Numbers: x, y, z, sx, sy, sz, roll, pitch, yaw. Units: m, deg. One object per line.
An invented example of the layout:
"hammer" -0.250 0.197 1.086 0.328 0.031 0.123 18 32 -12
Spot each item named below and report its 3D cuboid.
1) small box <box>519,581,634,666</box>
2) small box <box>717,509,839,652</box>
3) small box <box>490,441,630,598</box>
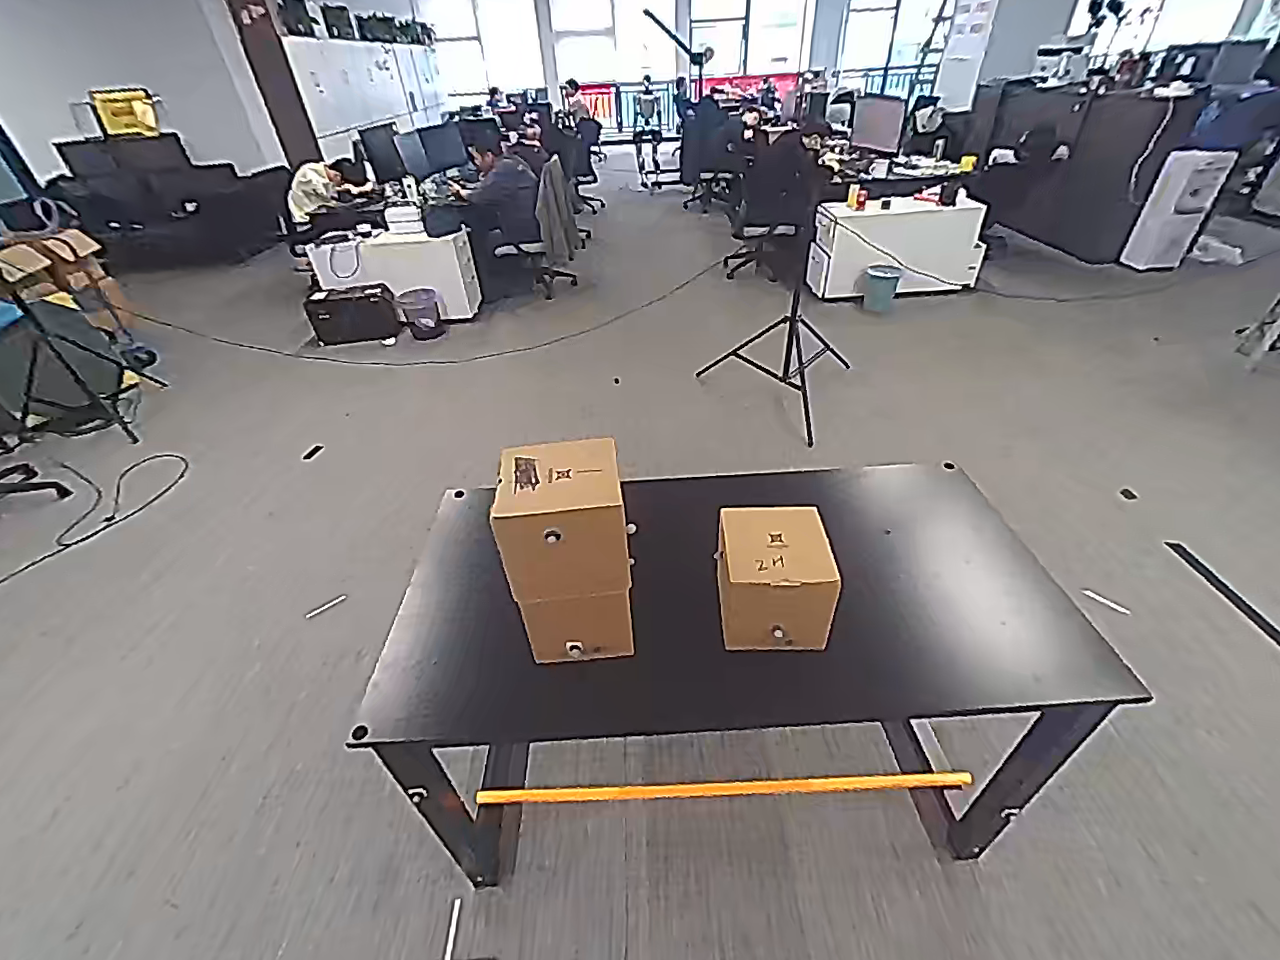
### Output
"small box" -0.102 0.189 0.921 0.168 0.176 0.179 -7 39 -2
"small box" 0.221 0.167 0.919 0.168 0.176 0.179 -1 38 4
"small box" -0.113 0.061 0.817 0.179 0.176 0.168 -6 38 -3
